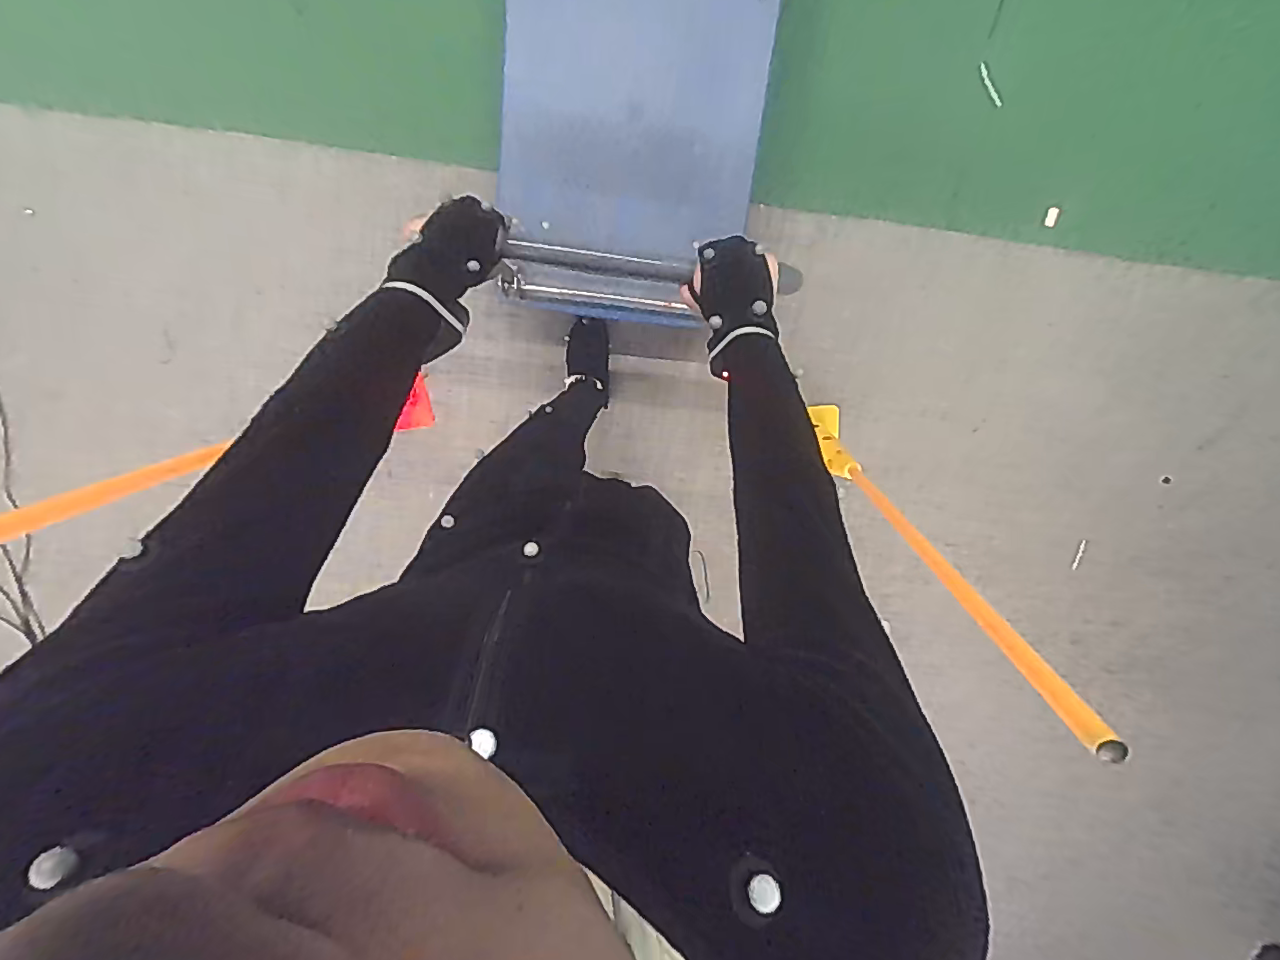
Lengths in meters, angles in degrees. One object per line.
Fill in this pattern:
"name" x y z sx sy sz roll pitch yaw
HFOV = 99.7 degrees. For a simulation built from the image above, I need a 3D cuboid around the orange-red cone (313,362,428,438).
"orange-red cone" -0.693 -0.175 1.332 0.199 0.360 0.198 -8 105 1
